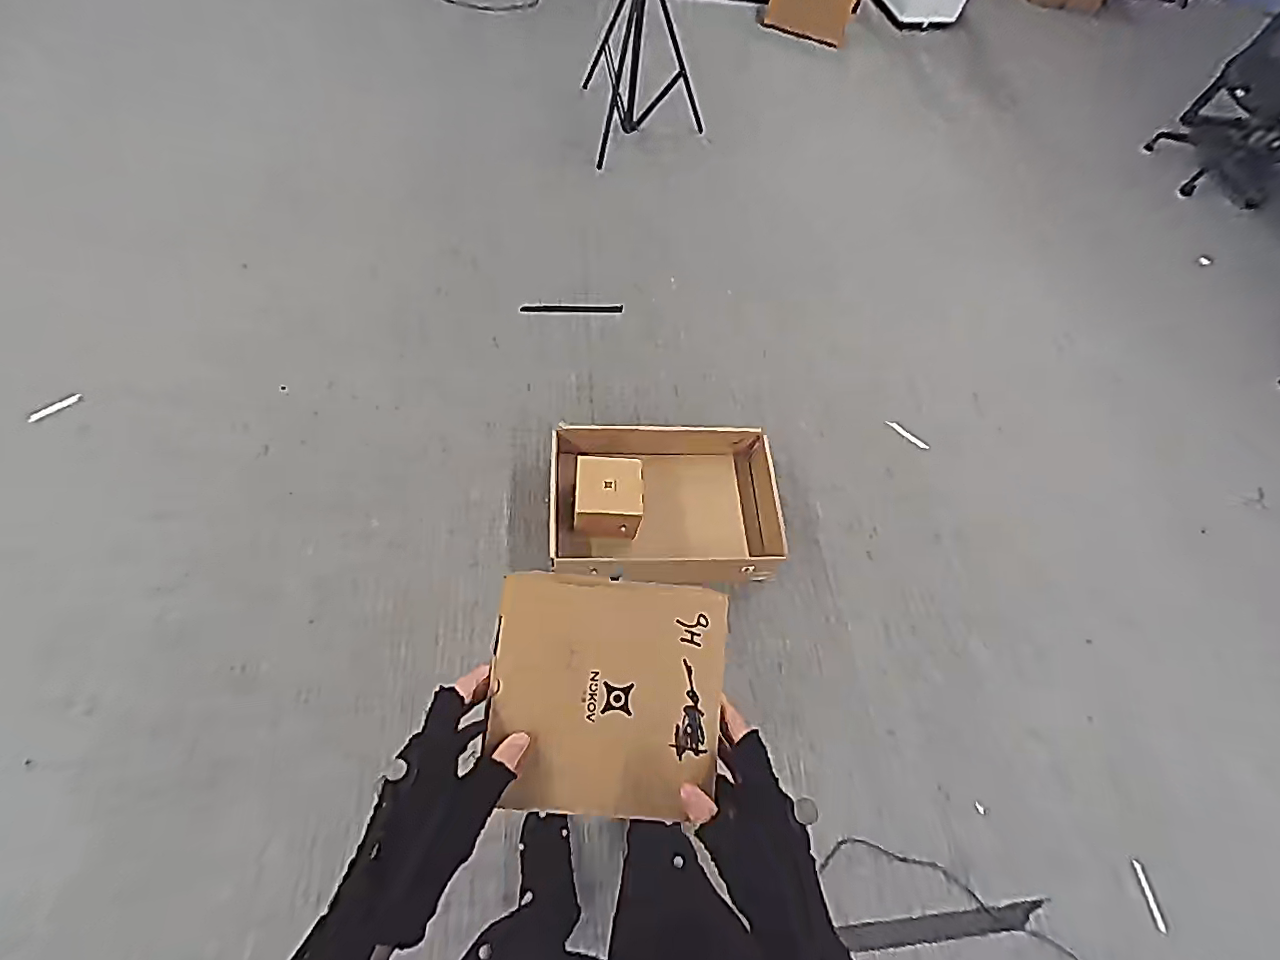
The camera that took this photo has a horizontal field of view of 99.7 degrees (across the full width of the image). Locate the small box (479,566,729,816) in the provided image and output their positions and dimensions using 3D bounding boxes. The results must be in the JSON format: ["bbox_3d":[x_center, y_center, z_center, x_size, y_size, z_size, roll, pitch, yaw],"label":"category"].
[{"bbox_3d":[-0.026,0.172,0.486,0.179,0.176,0.168,6,79,-2],"label":"small box"}]

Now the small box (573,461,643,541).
[{"bbox_3d":[-0.089,0.062,1.480,0.179,0.176,0.168,3,62,-7],"label":"small box"}]
